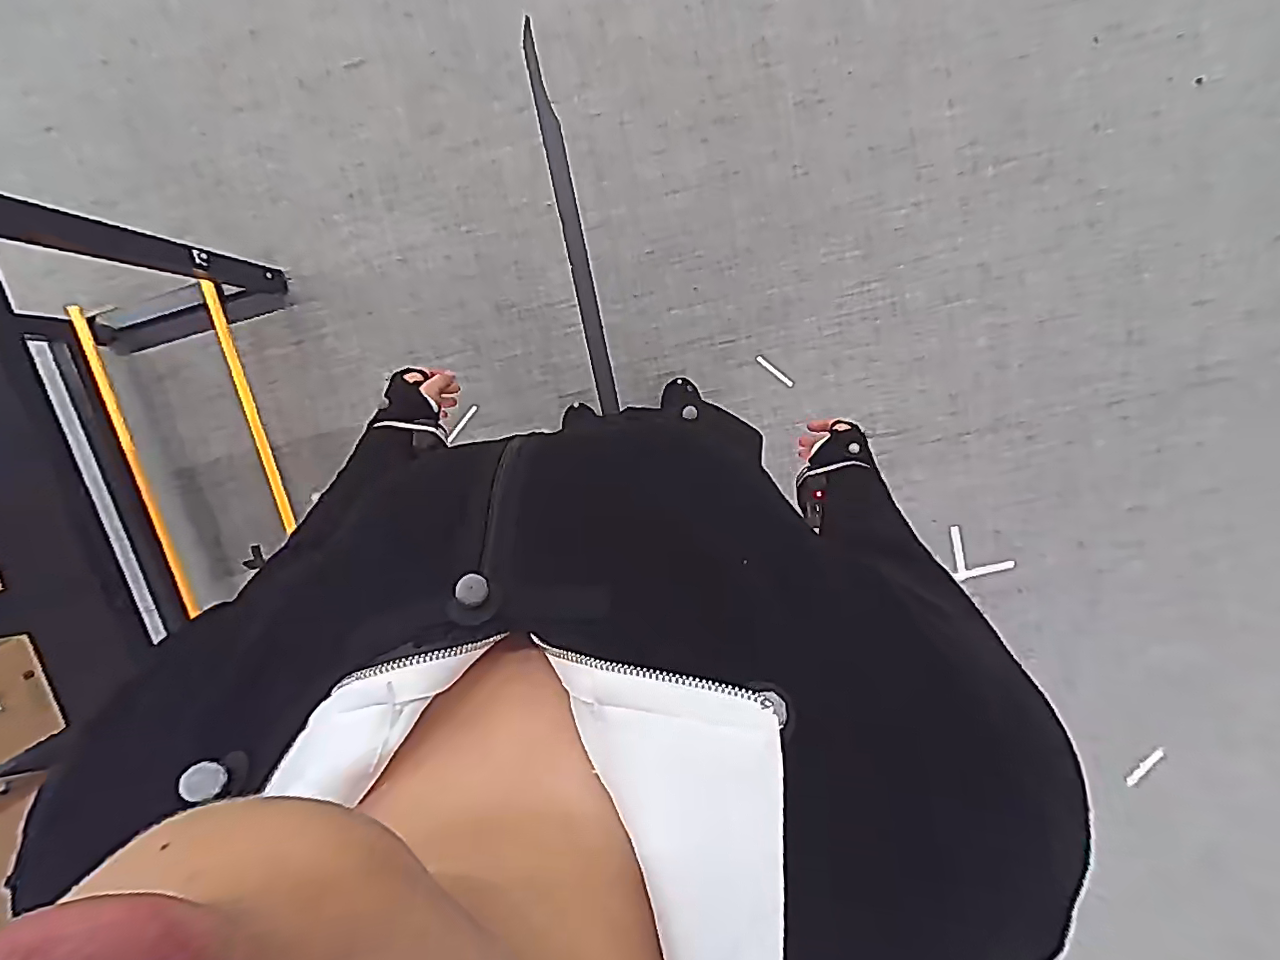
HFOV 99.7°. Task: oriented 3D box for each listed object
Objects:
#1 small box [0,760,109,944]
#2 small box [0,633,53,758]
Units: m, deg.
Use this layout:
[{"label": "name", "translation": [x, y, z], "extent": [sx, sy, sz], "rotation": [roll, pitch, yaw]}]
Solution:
[{"label": "small box", "translation": [-0.981, 0.566, 0.822], "extent": [0.168, 0.176, 0.179], "rotation": [-12, 99, 5]}, {"label": "small box", "translation": [-1.025, 0.341, 0.783], "extent": [0.179, 0.176, 0.168], "rotation": [-11, 100, 4]}]
